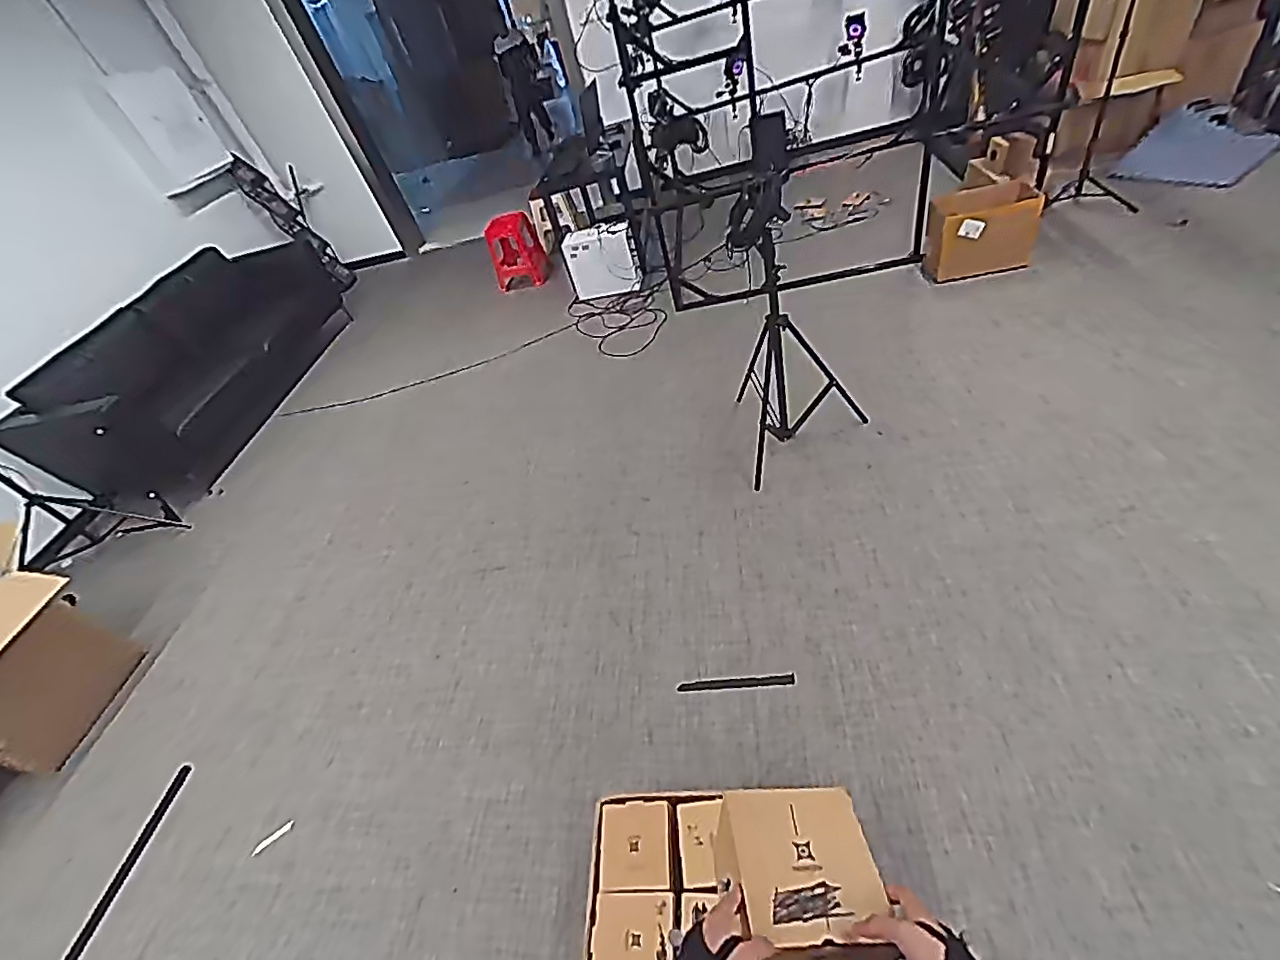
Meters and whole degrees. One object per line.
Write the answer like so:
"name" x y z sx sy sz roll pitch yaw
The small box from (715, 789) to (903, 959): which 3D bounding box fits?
"small box" 0.191 0.519 0.670 0.168 0.176 0.179 0 27 -3
